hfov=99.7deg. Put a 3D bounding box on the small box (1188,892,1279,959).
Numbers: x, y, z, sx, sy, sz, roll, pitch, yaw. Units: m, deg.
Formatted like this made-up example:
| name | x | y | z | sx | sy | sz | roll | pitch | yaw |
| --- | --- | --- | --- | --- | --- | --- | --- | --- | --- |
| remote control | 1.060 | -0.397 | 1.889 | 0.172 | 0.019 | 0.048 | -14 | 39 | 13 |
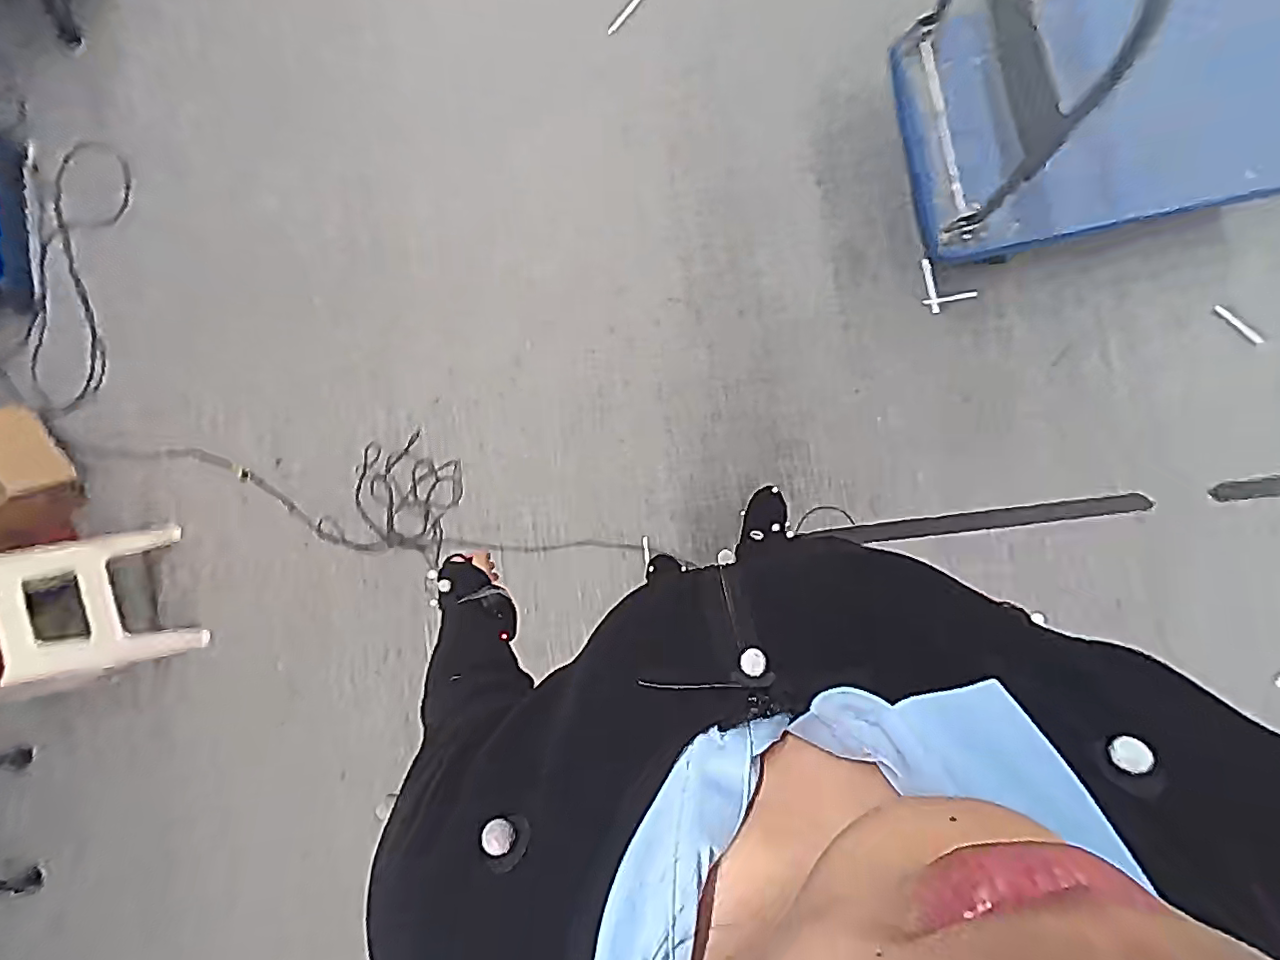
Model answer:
| name | x | y | z | sx | sy | sz | roll | pitch | yaw |
| --- | --- | --- | --- | --- | --- | --- | --- | --- | --- |
| small box | 1.422 | 1.091 | 1.231 | 0.168 | 0.176 | 0.179 | -11 | 85 | 6 |
